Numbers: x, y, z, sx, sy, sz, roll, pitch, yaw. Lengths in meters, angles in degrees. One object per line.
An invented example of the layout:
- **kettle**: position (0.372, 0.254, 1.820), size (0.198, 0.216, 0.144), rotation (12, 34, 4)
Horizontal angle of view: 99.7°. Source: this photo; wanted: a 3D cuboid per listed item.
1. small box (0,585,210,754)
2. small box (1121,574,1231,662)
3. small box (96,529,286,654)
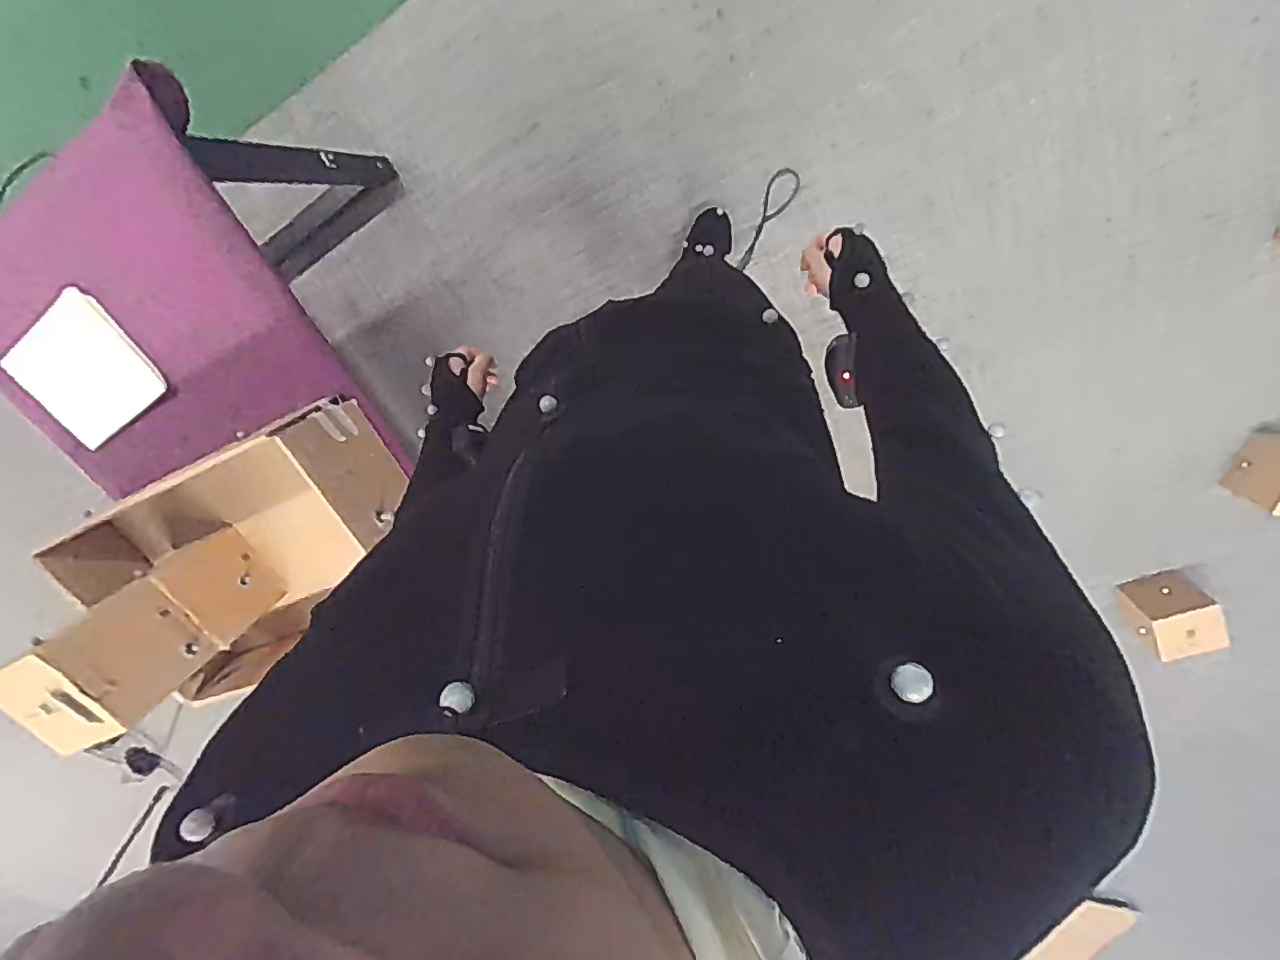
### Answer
- **small box**: position (-0.843, 0.293, 0.859), size (0.179, 0.176, 0.168), rotation (-23, 110, 18)
- **small box**: position (1.595, 0.404, 1.619), size (0.168, 0.176, 0.179), rotation (-25, 111, 20)
- **small box**: position (-0.816, 0.219, 1.003), size (0.179, 0.176, 0.168), rotation (-23, 111, 17)
